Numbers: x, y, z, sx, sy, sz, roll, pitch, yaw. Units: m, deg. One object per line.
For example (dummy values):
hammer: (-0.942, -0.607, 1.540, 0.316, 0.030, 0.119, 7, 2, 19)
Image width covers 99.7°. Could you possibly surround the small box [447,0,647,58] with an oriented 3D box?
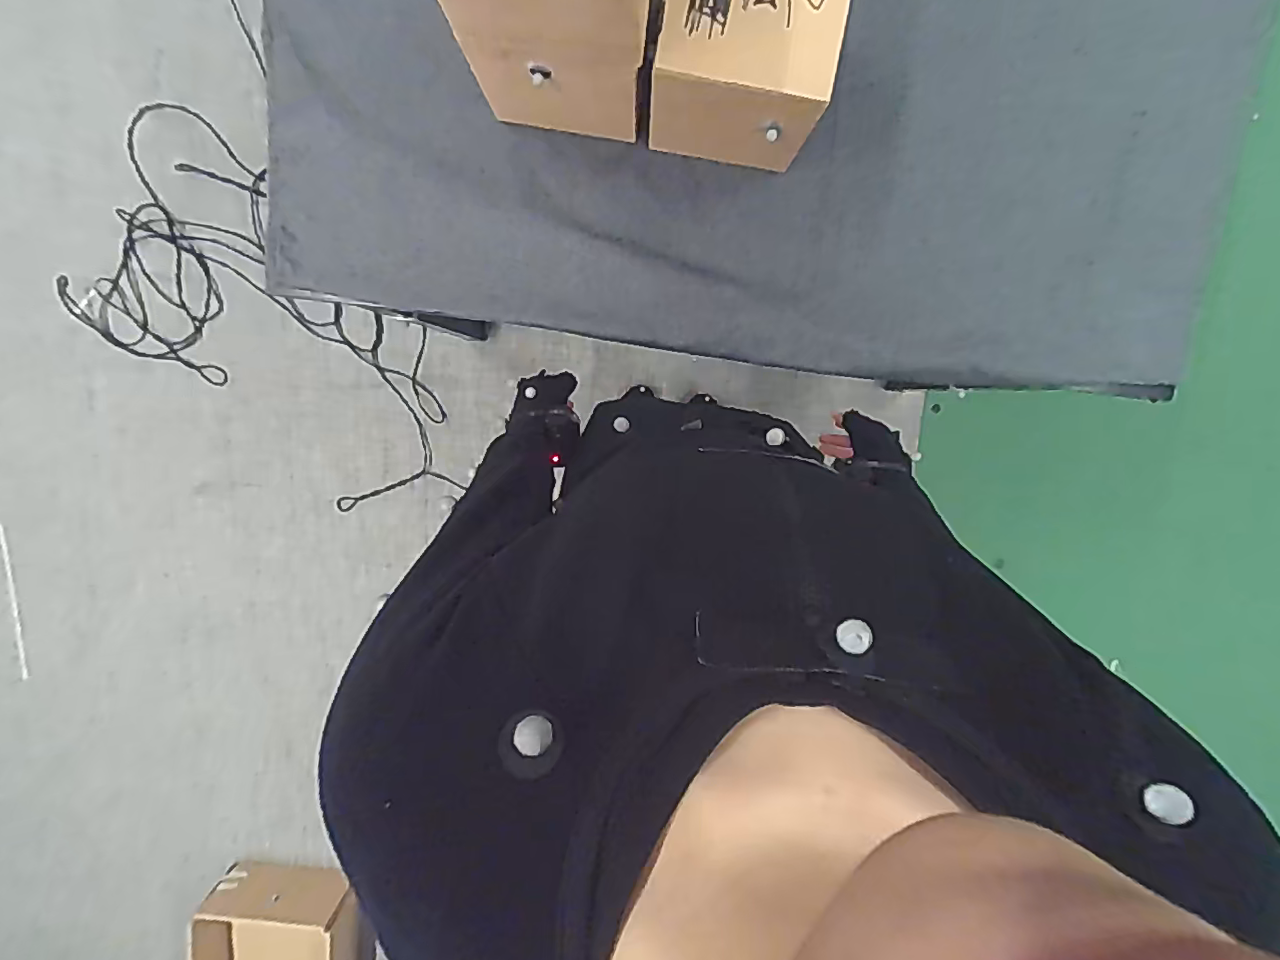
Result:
small box: (-0.072, -0.475, 0.423, 0.179, 0.176, 0.168, 7, 98, -2)
